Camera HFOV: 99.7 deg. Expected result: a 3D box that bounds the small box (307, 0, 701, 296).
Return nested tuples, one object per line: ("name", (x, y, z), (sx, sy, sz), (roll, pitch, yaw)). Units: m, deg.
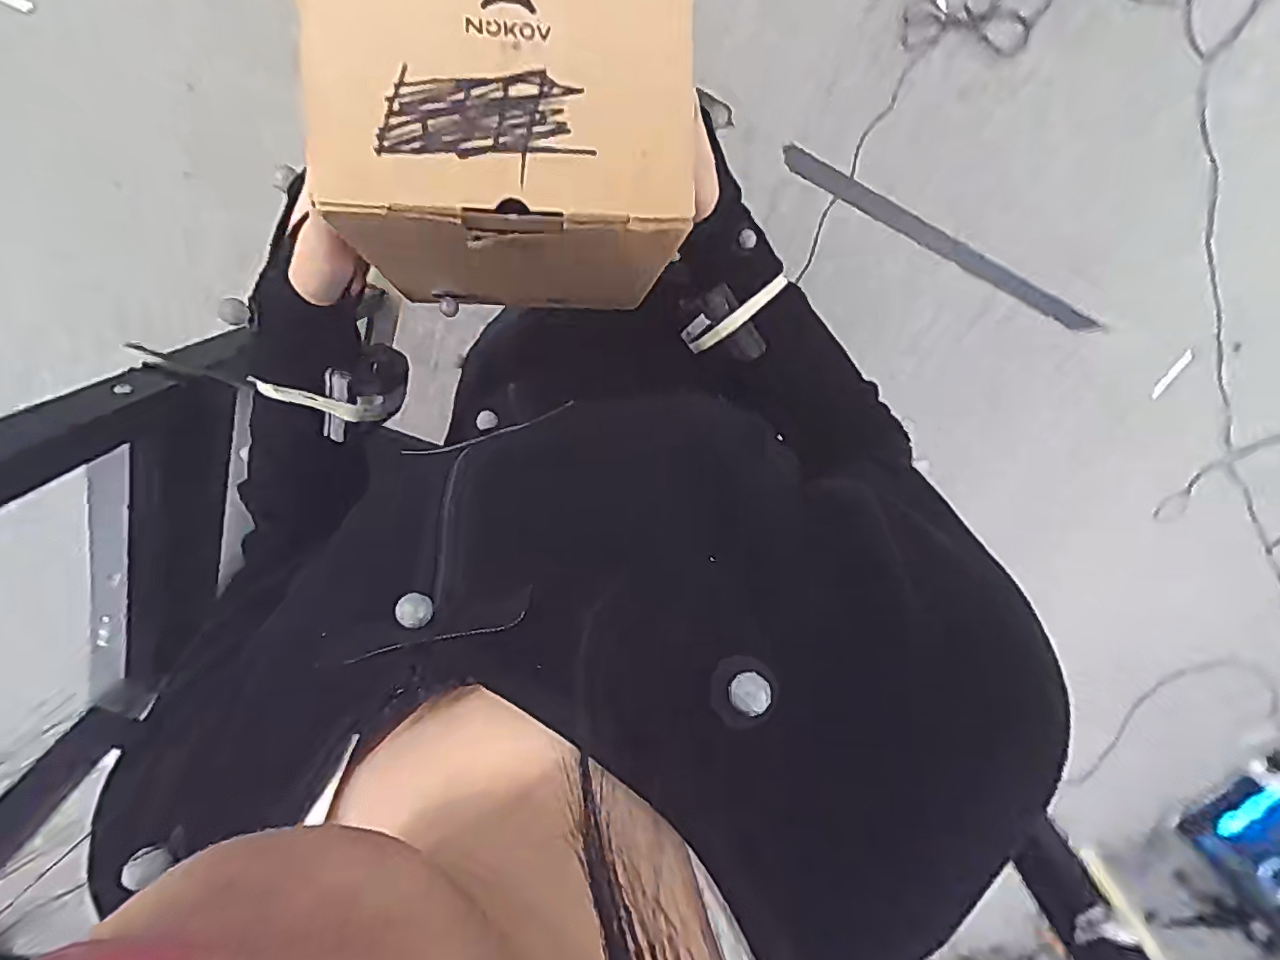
("small box", (-0.066, -0.212, 0.308), (0.168, 0.176, 0.179), (-1, 94, -10))
